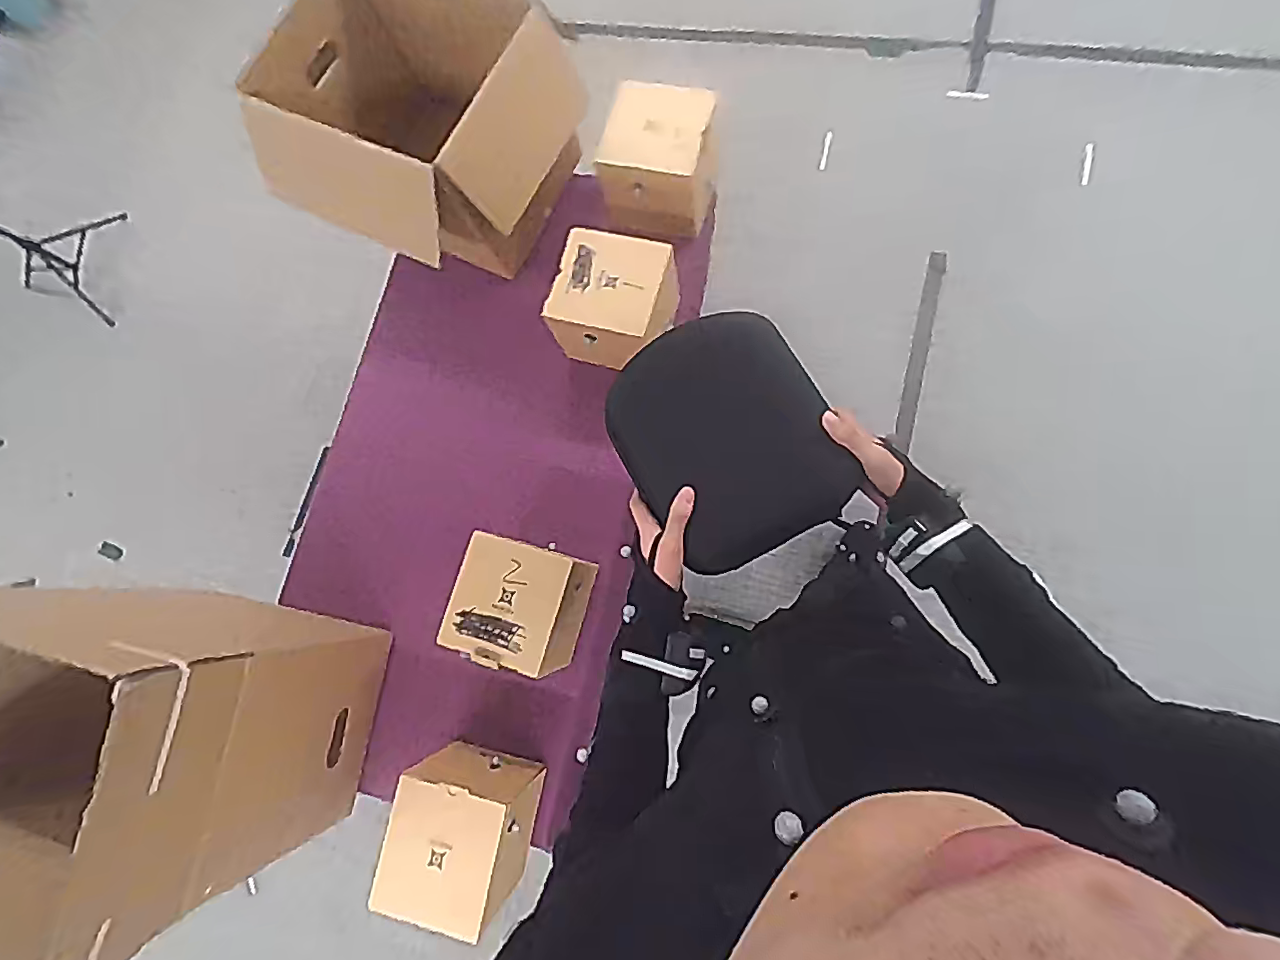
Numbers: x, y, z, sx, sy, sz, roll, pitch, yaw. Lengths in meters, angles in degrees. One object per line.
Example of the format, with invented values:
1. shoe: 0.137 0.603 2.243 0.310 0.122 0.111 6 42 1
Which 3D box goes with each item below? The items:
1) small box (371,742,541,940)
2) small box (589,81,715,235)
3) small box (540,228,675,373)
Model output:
1. small box: -0.263 0.524 0.814 0.168 0.176 0.179 8 80 10
2. small box: 0.031 -0.574 0.981 0.179 0.176 0.168 15 83 12
3. small box: -0.047 -0.303 0.942 0.179 0.176 0.168 15 82 11
